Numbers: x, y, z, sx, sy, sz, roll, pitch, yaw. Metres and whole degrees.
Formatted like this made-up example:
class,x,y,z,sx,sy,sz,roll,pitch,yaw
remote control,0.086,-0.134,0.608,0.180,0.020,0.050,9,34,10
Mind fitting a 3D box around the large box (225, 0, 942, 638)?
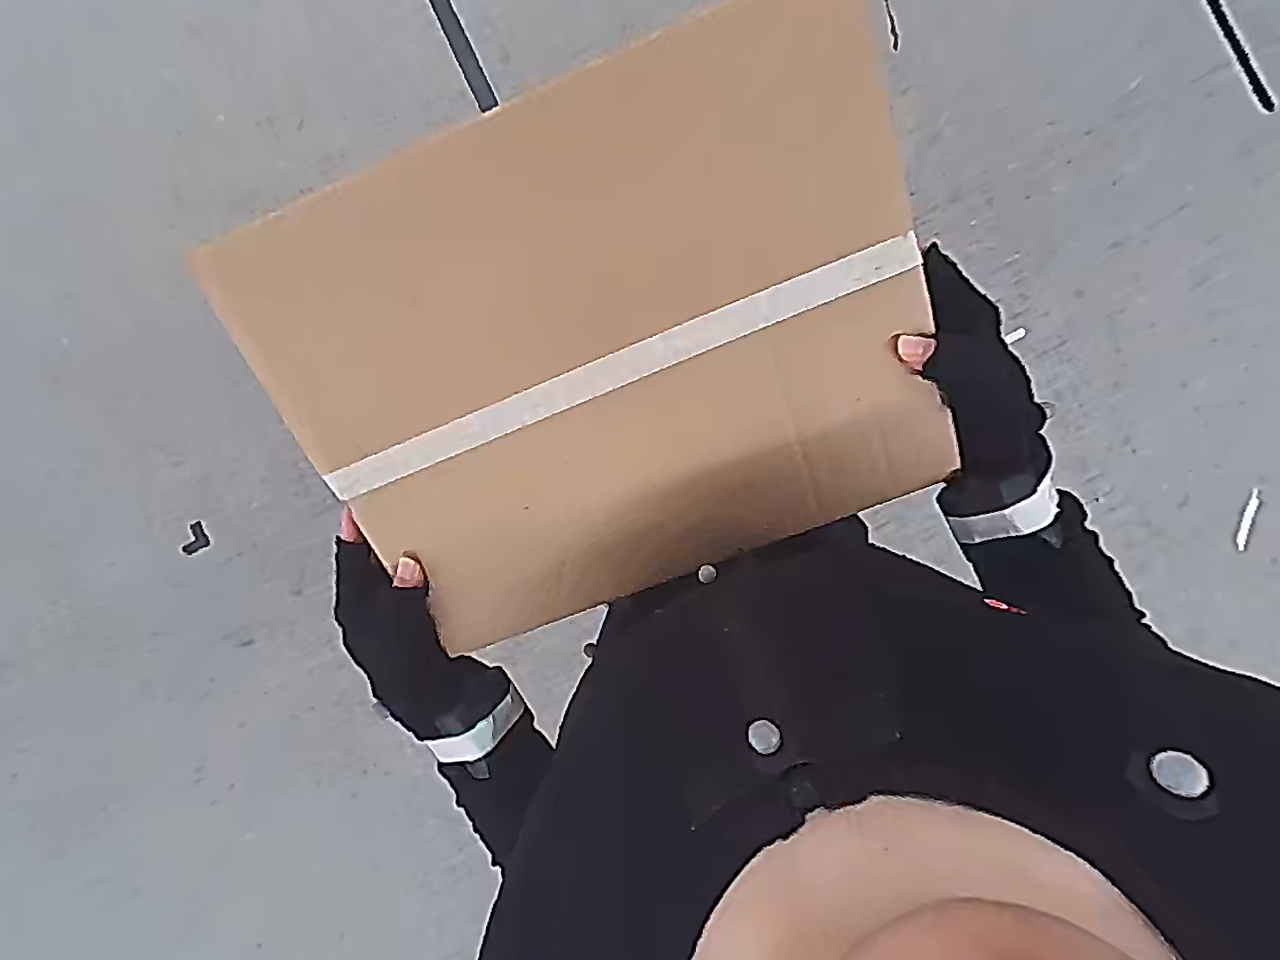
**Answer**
class,x,y,z,sx,sy,sz,roll,pitch,yaw
large box,-0.026,-0.126,0.500,0.408,0.320,0.320,-21,110,6
